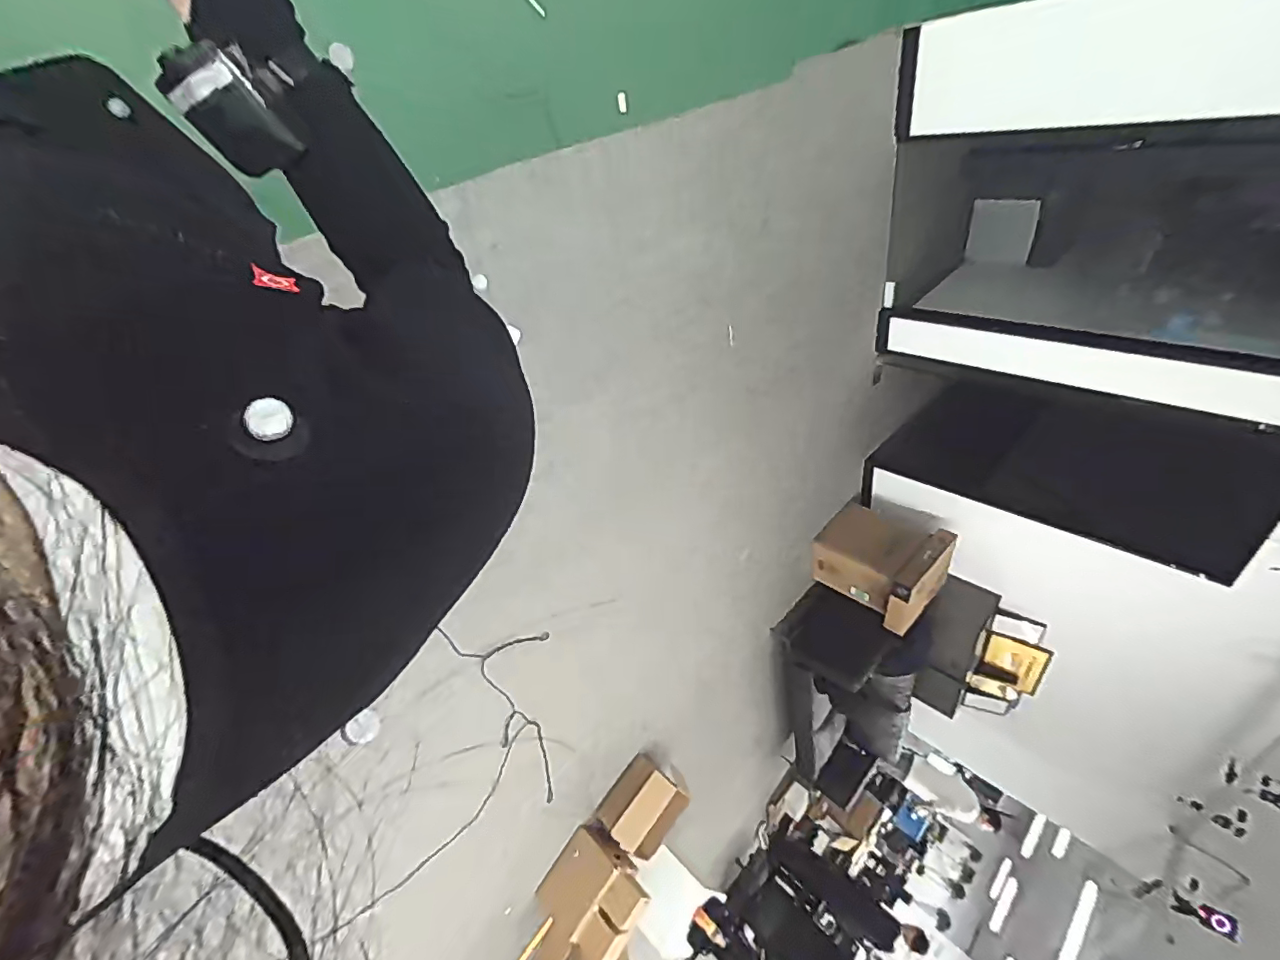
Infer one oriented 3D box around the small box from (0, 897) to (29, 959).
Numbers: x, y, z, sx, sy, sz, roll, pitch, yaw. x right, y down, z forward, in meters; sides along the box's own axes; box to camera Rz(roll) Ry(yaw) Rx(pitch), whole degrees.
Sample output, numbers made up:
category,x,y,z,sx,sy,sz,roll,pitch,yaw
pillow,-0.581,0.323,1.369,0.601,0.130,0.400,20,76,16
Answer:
category,x,y,z,sx,sy,sz,roll,pitch,yaw
small box,-1.479,1.022,1.150,0.179,0.176,0.168,-41,136,-24
